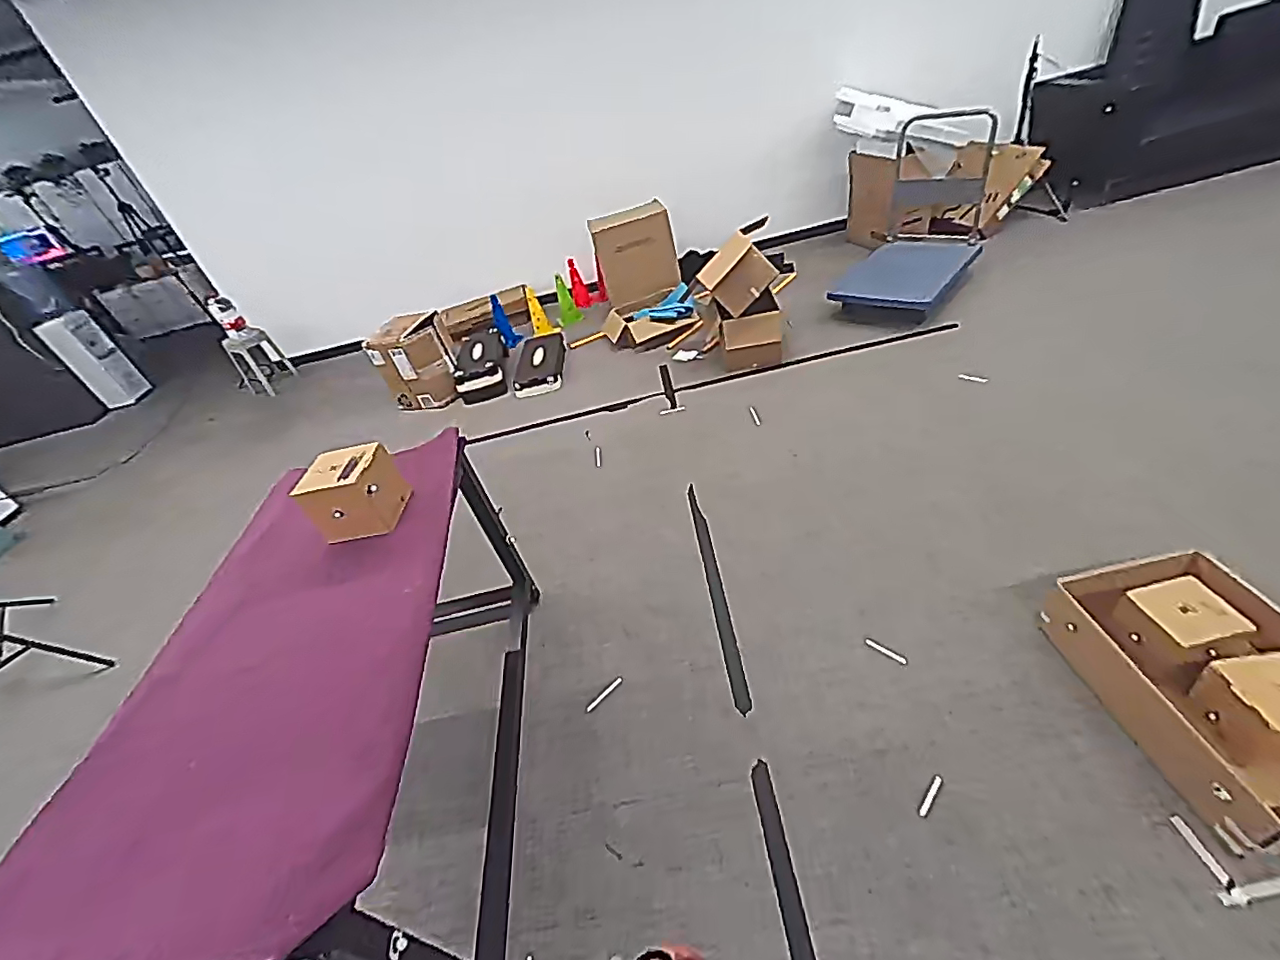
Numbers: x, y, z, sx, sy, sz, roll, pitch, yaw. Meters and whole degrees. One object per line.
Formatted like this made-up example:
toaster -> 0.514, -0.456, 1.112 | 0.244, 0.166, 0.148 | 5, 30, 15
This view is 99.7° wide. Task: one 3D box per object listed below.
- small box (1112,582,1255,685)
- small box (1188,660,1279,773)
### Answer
small box -> 1.335, 0.386, 1.350 | 0.179, 0.176, 0.168 | -14, 39, 1
small box -> 1.377, 0.516, 1.179 | 0.179, 0.176, 0.168 | -10, 38, 7
